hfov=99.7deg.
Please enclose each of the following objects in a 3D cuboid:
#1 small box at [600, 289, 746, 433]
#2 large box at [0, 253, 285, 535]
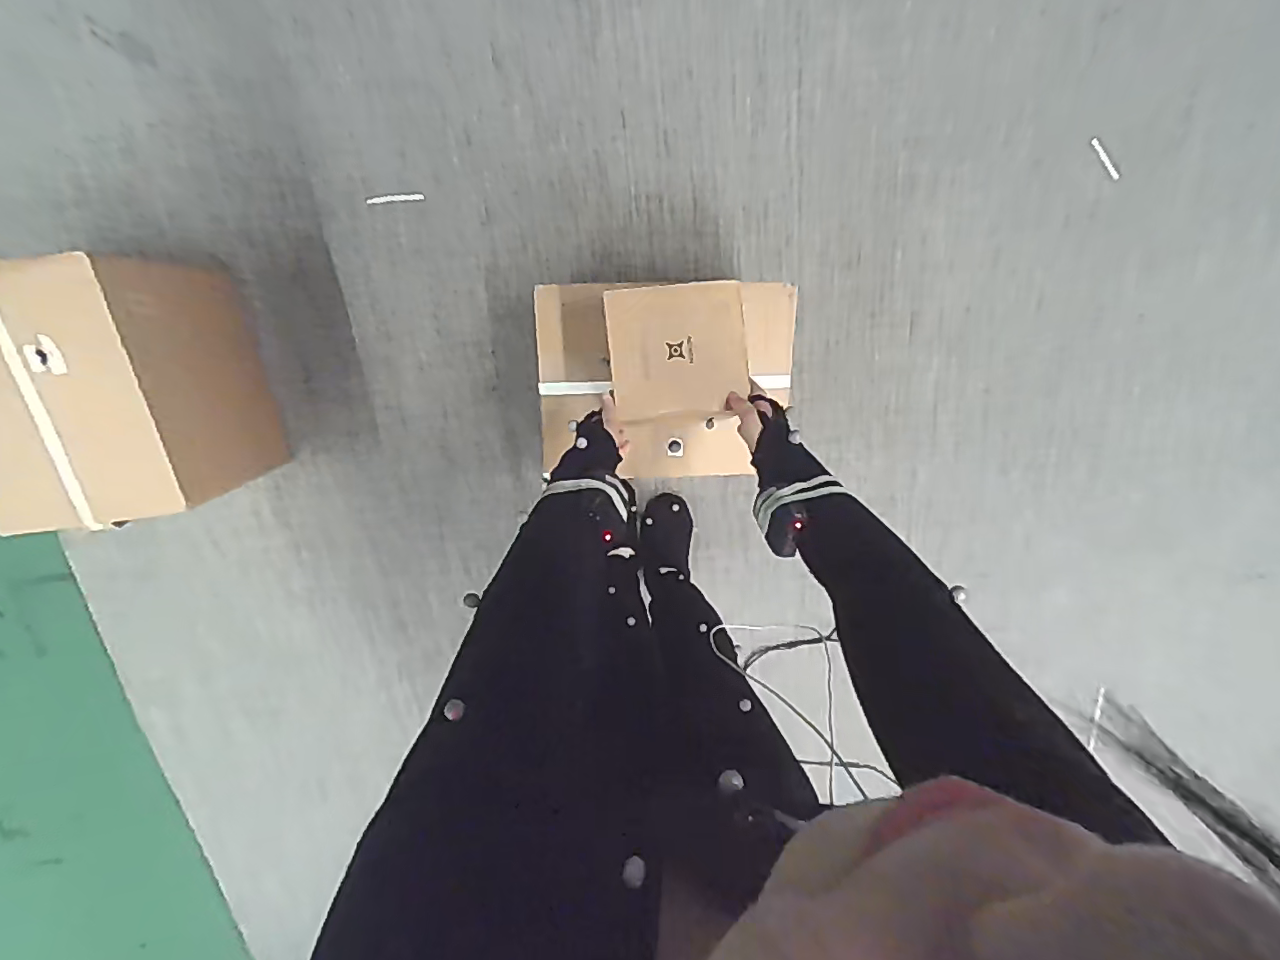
[{"bbox_3d":[0.038,-0.158,0.760,0.179,0.176,0.168,-6,92,-2],"label":"small box"},{"bbox_3d":[-0.926,-0.156,0.966,0.320,0.320,0.408,-7,106,-1],"label":"large box"}]
